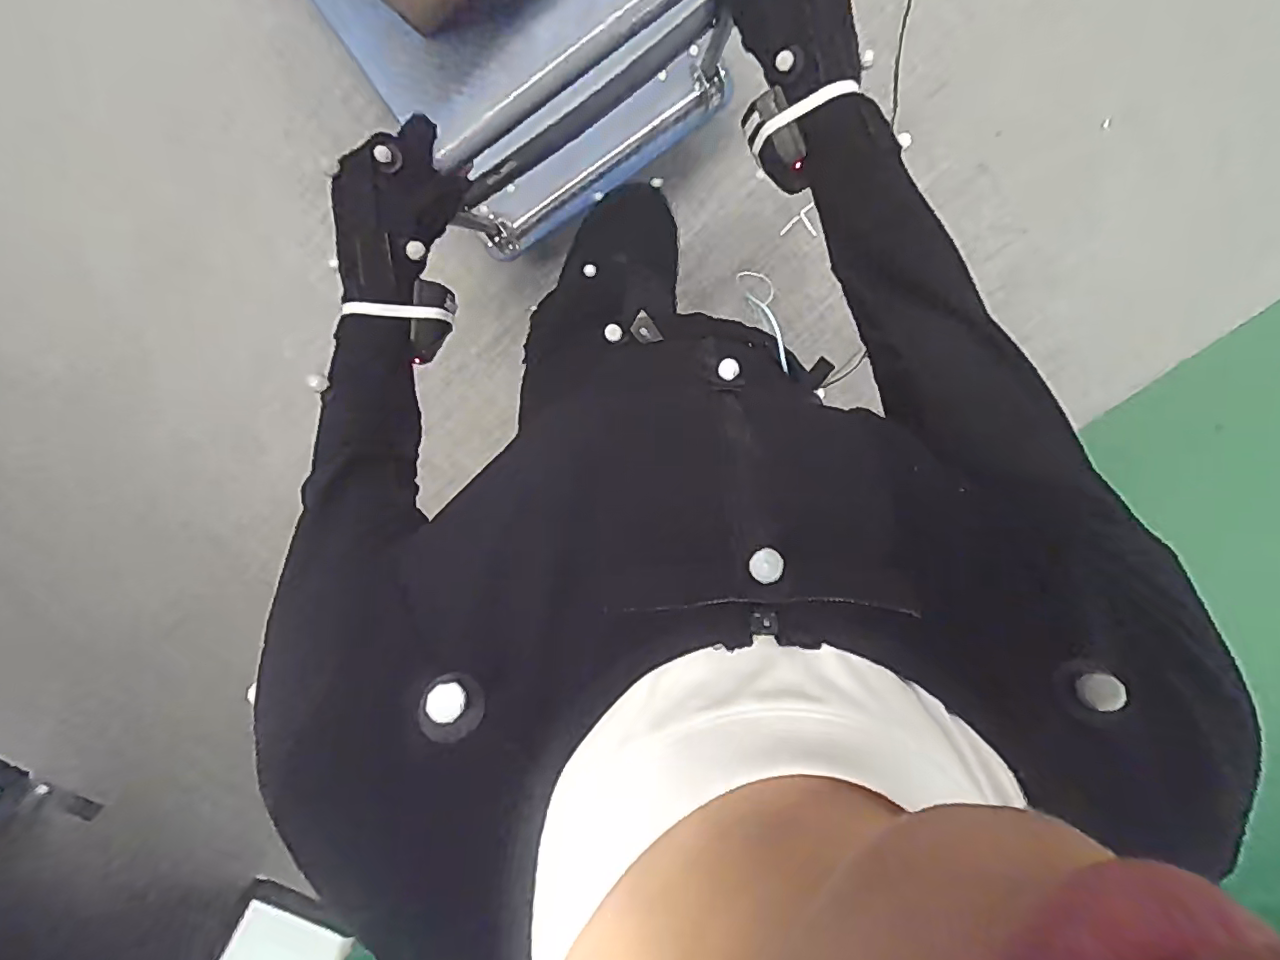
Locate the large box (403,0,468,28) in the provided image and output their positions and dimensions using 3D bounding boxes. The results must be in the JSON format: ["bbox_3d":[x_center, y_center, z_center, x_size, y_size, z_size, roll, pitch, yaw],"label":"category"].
[{"bbox_3d":[-0.283,-0.949,0.732,0.408,0.320,0.320,-33,113,14],"label":"large box"}]
